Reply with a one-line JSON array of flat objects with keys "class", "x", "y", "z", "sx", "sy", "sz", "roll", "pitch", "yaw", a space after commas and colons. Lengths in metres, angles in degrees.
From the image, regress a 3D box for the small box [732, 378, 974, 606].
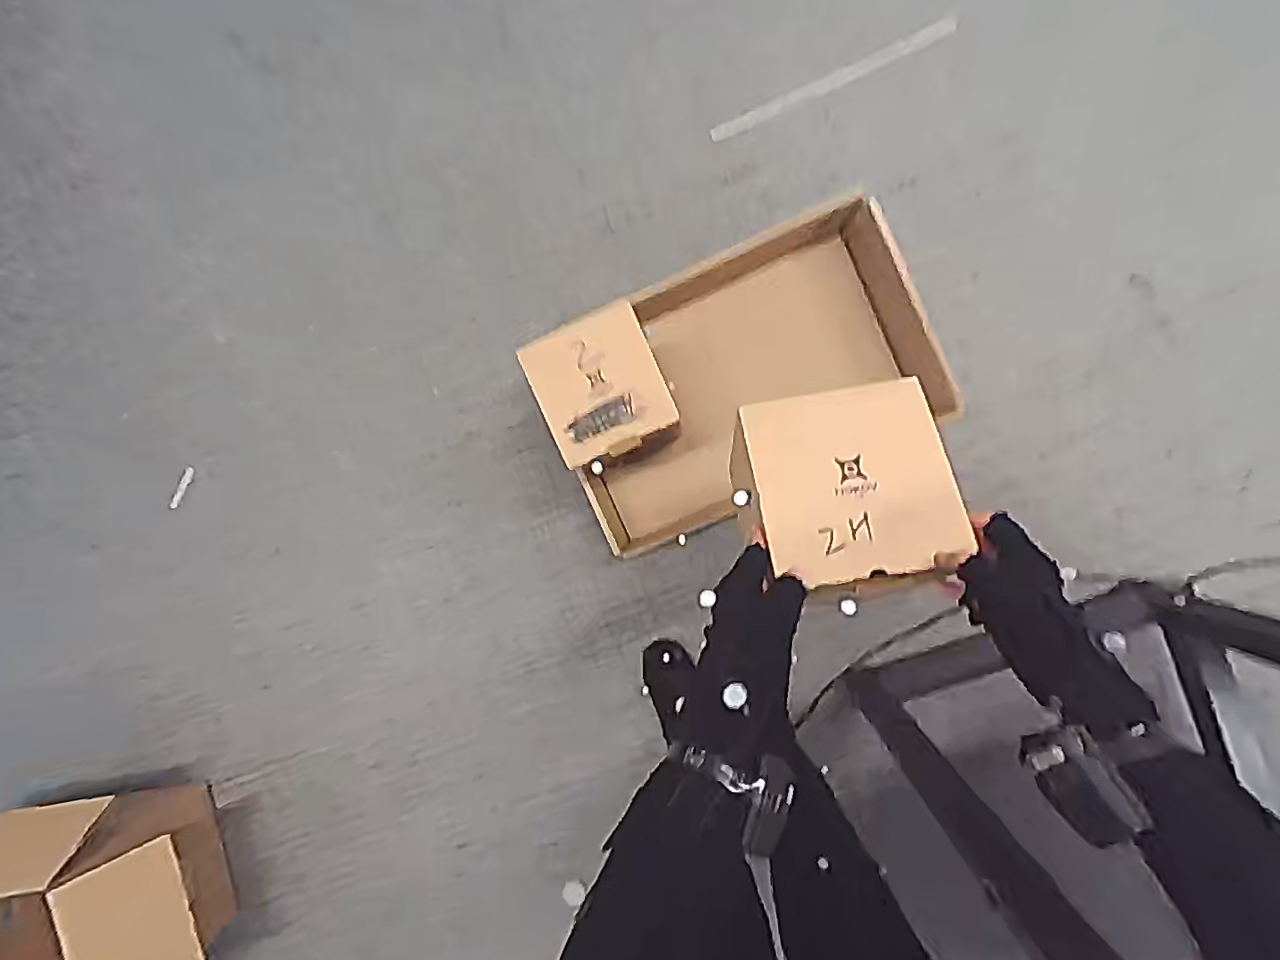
[{"class": "small box", "x": 0.192, "y": 0.022, "z": 0.551, "sx": 0.168, "sy": 0.176, "sz": 0.179, "roll": -8, "pitch": 69, "yaw": 3}]
